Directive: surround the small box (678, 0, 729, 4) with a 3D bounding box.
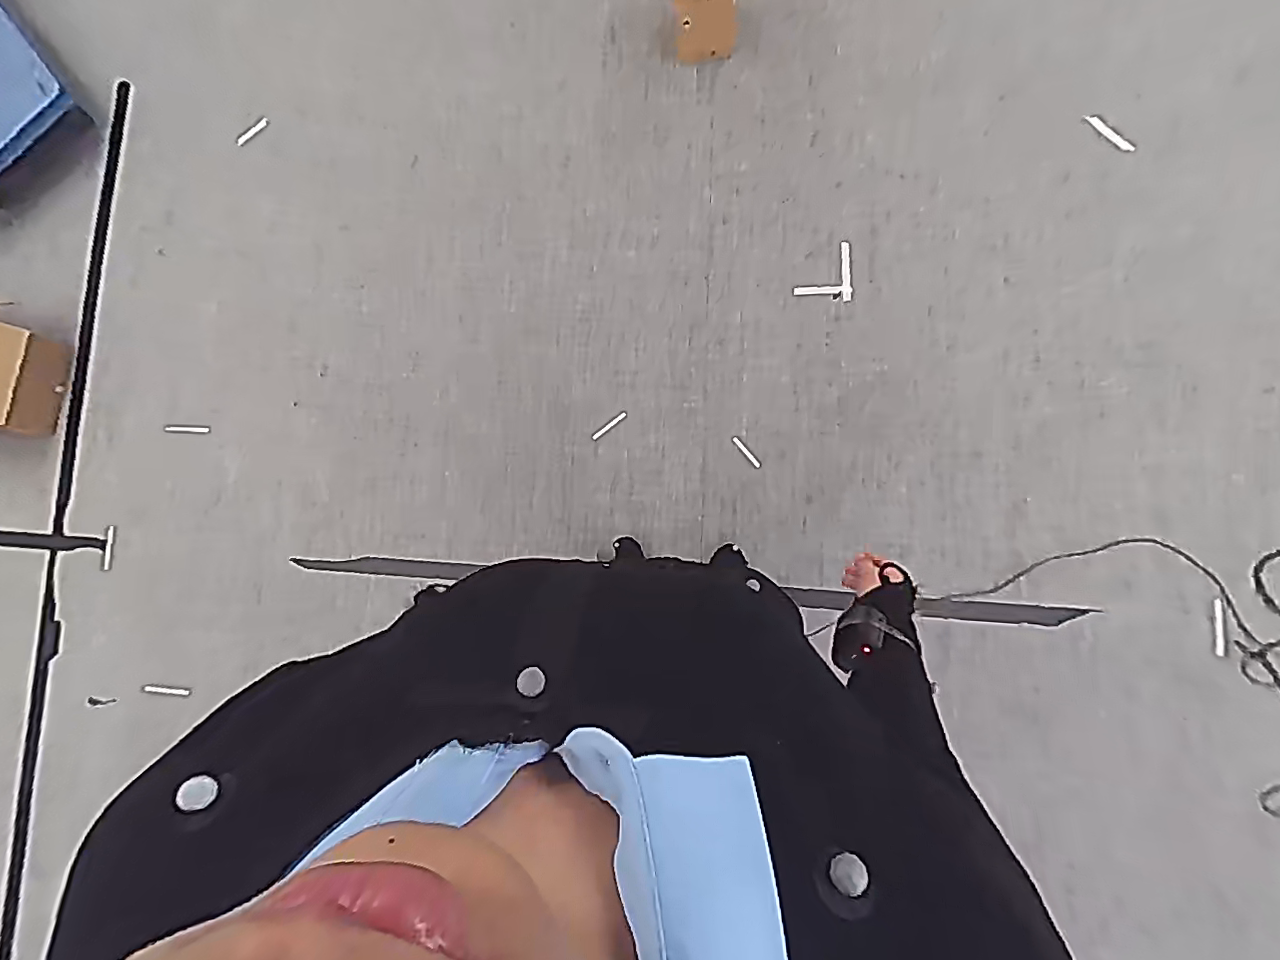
[{"bbox_3d":[0.167,-1.388,1.403,0.168,0.176,0.179,6,84,7],"label":"small box"}]
